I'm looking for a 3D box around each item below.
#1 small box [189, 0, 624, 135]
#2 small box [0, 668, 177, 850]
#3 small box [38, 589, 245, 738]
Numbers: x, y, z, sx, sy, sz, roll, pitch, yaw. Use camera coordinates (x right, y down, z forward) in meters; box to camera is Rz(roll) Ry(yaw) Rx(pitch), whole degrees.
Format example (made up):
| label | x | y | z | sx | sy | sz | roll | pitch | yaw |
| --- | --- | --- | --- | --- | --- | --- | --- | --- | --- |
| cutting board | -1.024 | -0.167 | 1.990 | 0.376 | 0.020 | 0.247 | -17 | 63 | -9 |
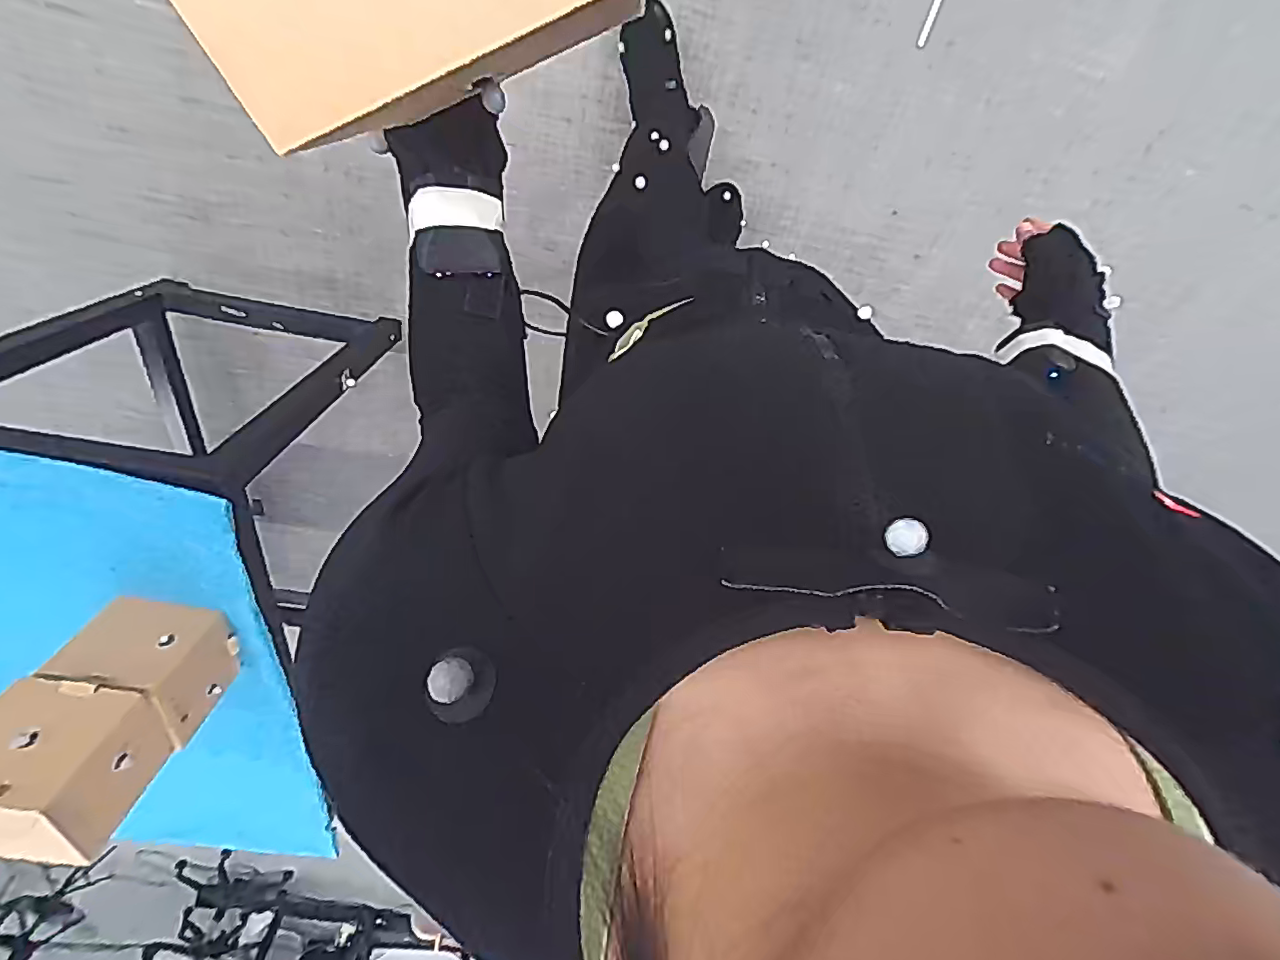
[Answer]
| label | x | y | z | sx | sy | sz | roll | pitch | yaw |
| --- | --- | --- | --- | --- | --- | --- | --- | --- | --- |
| small box | -0.104 | -0.279 | 0.226 | 0.168 | 0.176 | 0.179 | -16 | 126 | 11 |
| small box | -0.829 | 0.400 | 0.771 | 0.168 | 0.176 | 0.179 | 12 | 127 | -6 |
| small box | -0.823 | 0.312 | 0.909 | 0.179 | 0.176 | 0.168 | 10 | 125 | -6 |
